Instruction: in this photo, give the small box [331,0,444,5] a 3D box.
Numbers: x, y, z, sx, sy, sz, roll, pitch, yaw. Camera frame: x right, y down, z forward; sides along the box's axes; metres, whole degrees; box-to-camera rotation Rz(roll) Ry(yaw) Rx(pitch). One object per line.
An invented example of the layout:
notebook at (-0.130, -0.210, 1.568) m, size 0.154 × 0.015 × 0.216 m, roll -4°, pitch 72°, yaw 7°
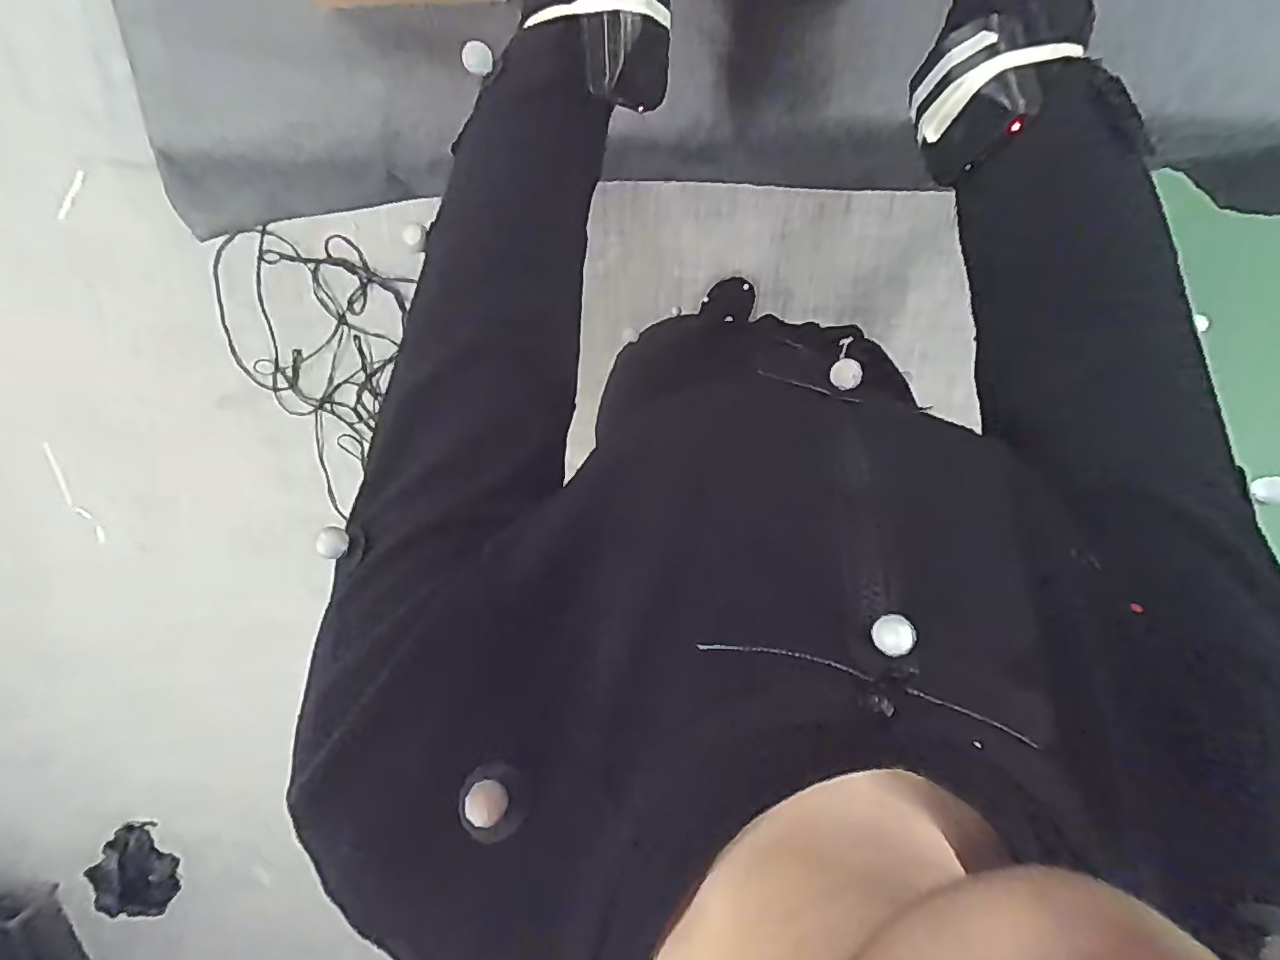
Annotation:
small box at (-0.208, -0.483, 0.388) m, size 0.179 × 0.176 × 0.168 m, roll 2°, pitch 109°, yaw 6°
